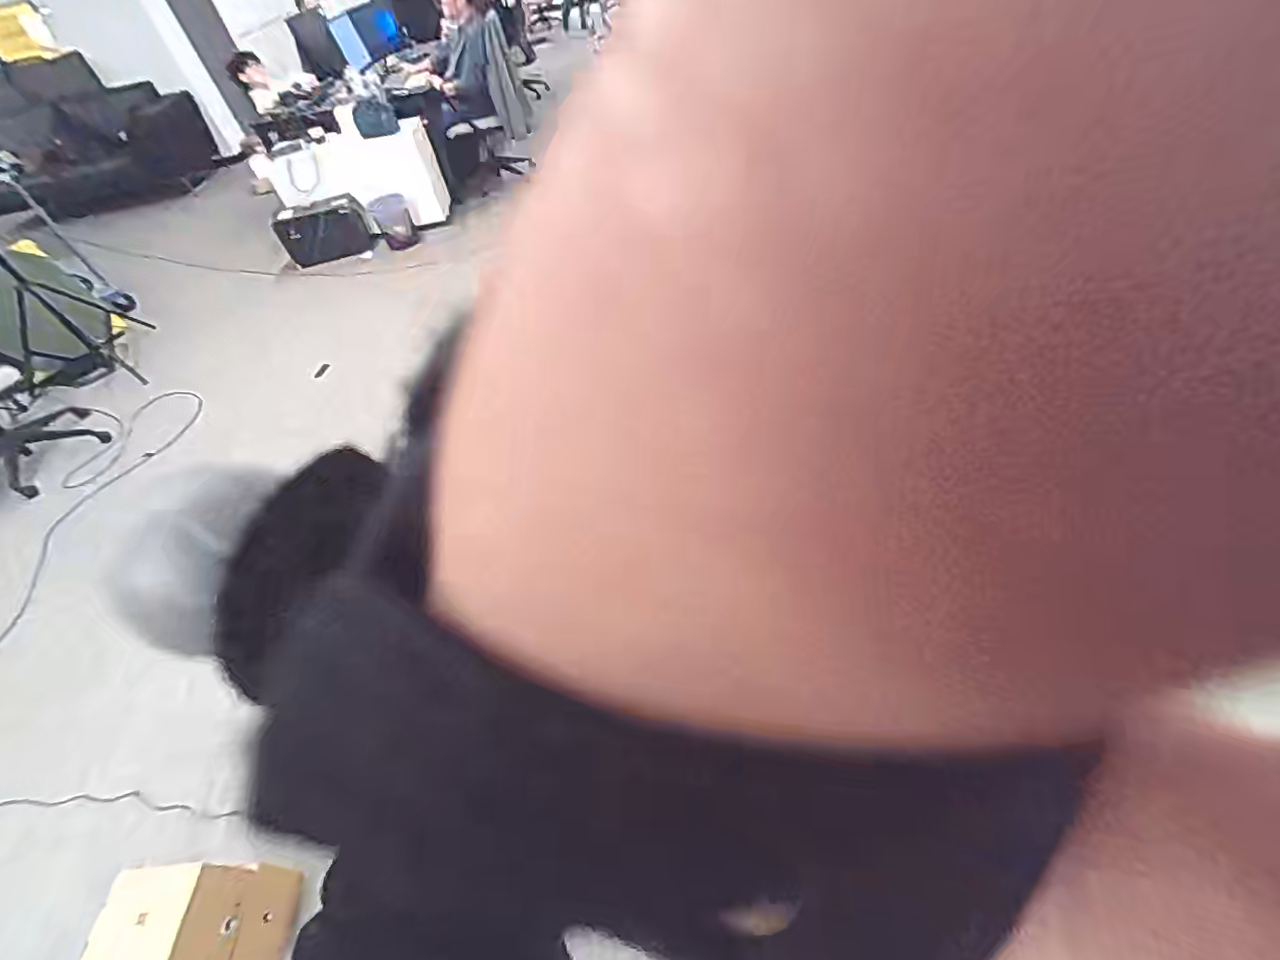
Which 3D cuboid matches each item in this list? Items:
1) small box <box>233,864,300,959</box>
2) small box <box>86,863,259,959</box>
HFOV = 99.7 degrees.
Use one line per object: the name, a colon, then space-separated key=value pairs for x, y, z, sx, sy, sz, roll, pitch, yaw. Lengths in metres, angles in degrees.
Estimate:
small box: x=-0.895 y=0.980 z=1.199 sx=0.168 sy=0.176 sz=0.179 roll=-10 pitch=49 yaw=1
small box: x=-0.919 y=0.878 z=1.075 sx=0.179 sy=0.176 sz=0.168 roll=-8 pitch=50 yaw=1
